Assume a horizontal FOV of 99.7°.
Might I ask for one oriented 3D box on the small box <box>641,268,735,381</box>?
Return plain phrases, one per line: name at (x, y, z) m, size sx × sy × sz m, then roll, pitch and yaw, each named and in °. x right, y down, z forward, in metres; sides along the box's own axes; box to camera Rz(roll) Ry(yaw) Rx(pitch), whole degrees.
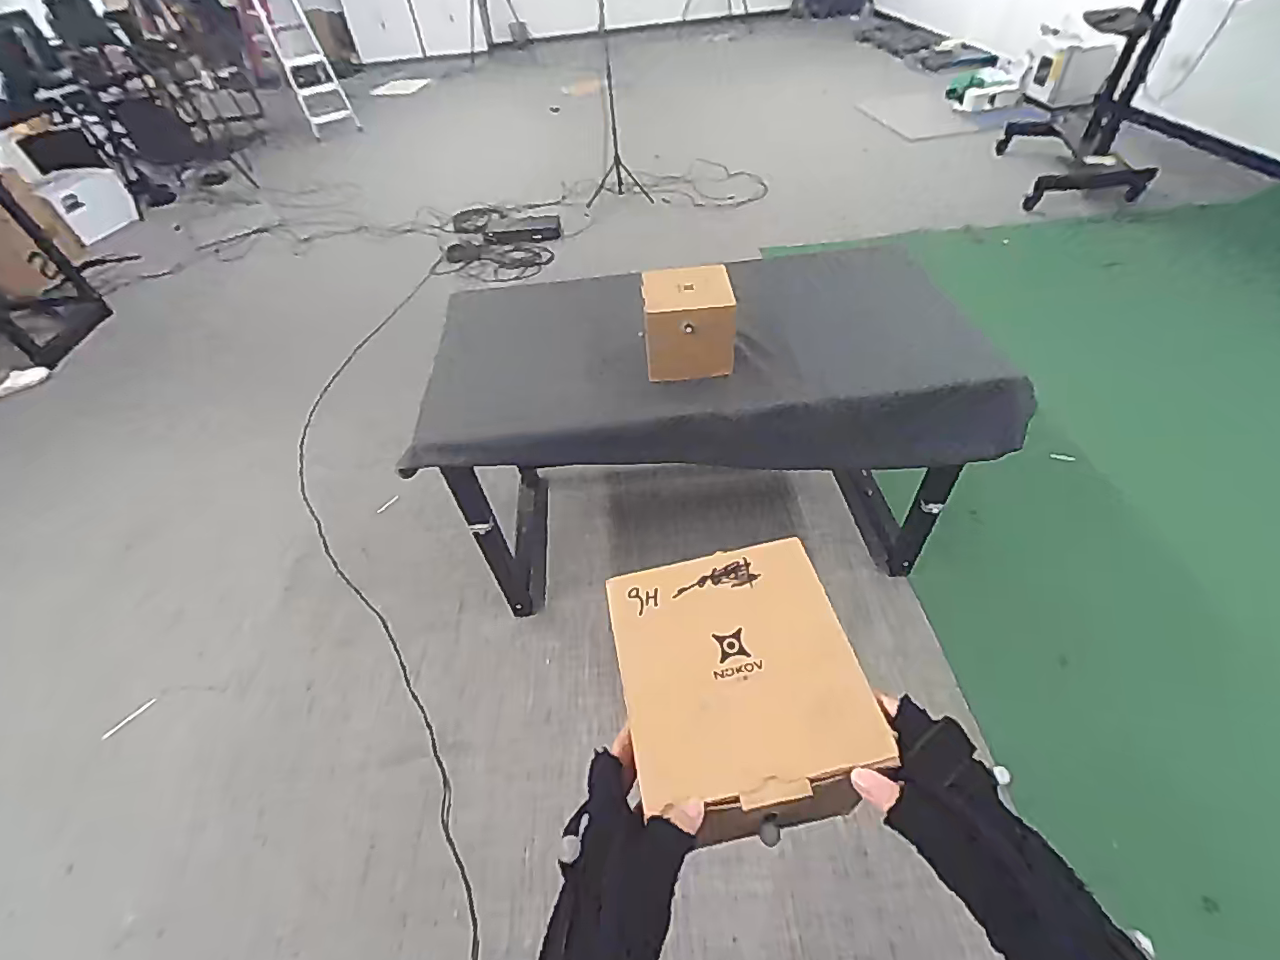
small box at (0.099, -0.325, 1.141) m, size 0.179 × 0.176 × 0.168 m, roll -4°, pitch 48°, yaw 1°
